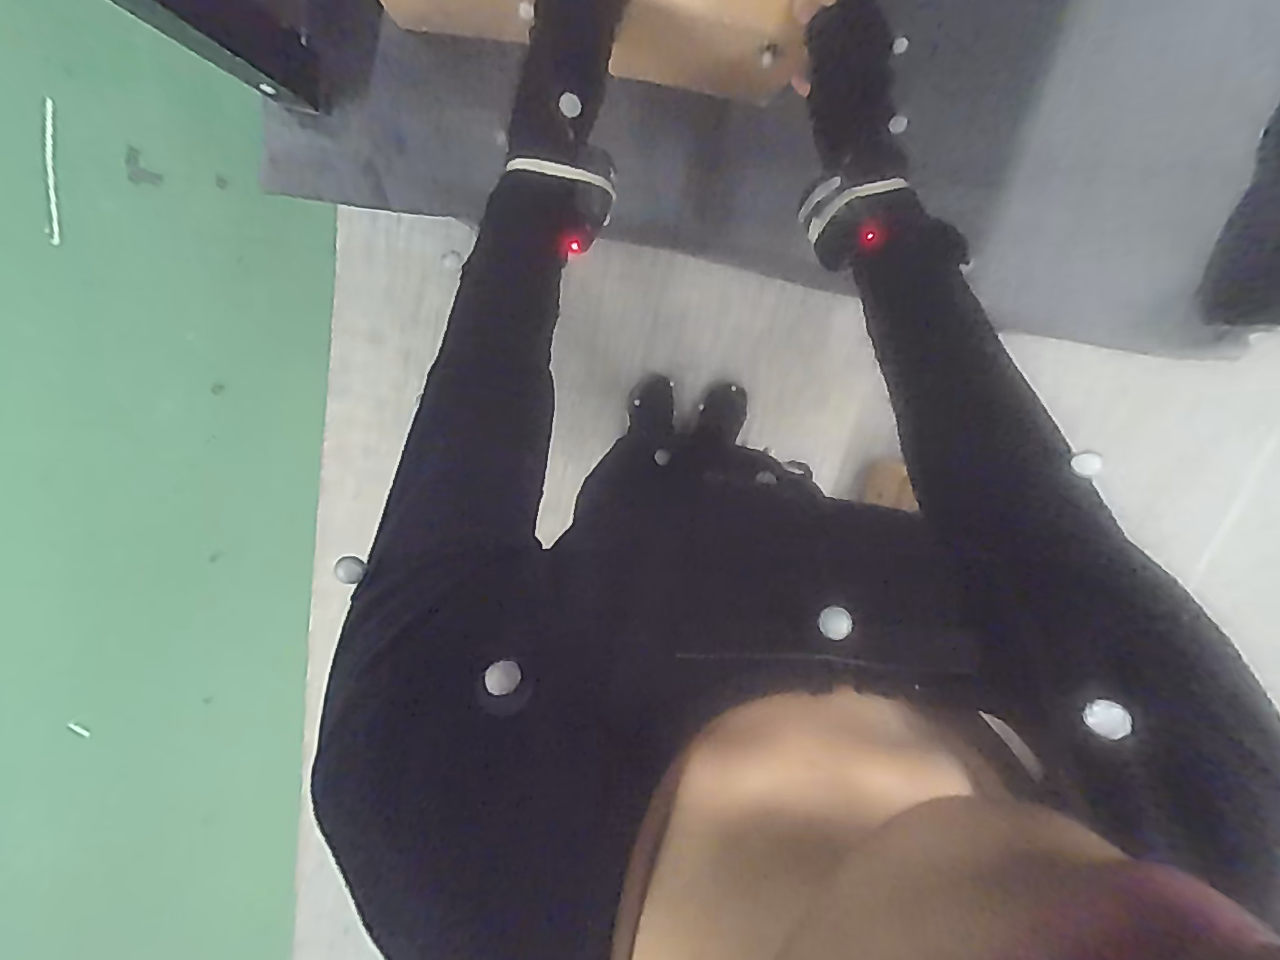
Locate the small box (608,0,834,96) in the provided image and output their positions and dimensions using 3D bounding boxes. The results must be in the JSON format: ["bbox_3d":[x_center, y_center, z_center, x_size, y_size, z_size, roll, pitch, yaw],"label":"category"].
[{"bbox_3d":[0.068,-0.460,0.465,0.179,0.176,0.168,6,111,-7],"label":"small box"}]

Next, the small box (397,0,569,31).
[{"bbox_3d":[-0.161,-0.537,0.478,0.179,0.176,0.168,4,107,0],"label":"small box"}]
